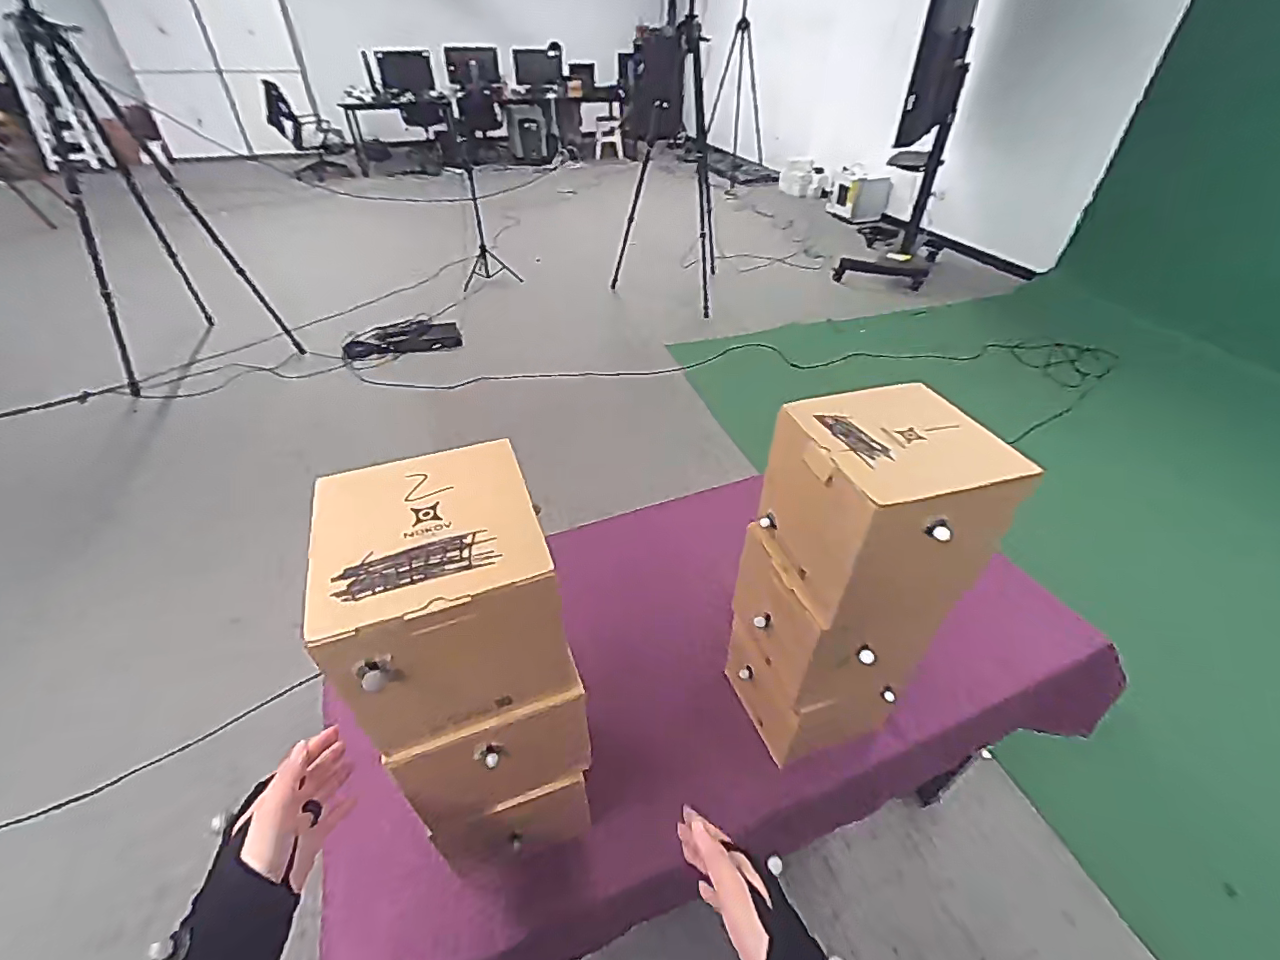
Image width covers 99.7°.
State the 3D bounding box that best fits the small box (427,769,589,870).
[{"bbox_3d":[-0.165,0.352,0.675,0.168,0.176,0.179,-13,42,-15],"label":"small box"}]

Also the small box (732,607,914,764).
[{"bbox_3d":[0.244,0.271,0.773,0.179,0.176,0.168,-14,42,-16],"label":"small box"}]

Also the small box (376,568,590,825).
[{"bbox_3d":[-0.160,0.226,0.571,0.179,0.176,0.168,-14,43,-16],"label":"small box"}]

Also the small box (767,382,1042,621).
[{"bbox_3d":[0.246,0.021,0.559,0.179,0.176,0.168,-10,41,-14],"label":"small box"}]

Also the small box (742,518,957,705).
[{"bbox_3d":[0.237,0.147,0.665,0.179,0.176,0.168,-12,42,-13],"label":"small box"}]
